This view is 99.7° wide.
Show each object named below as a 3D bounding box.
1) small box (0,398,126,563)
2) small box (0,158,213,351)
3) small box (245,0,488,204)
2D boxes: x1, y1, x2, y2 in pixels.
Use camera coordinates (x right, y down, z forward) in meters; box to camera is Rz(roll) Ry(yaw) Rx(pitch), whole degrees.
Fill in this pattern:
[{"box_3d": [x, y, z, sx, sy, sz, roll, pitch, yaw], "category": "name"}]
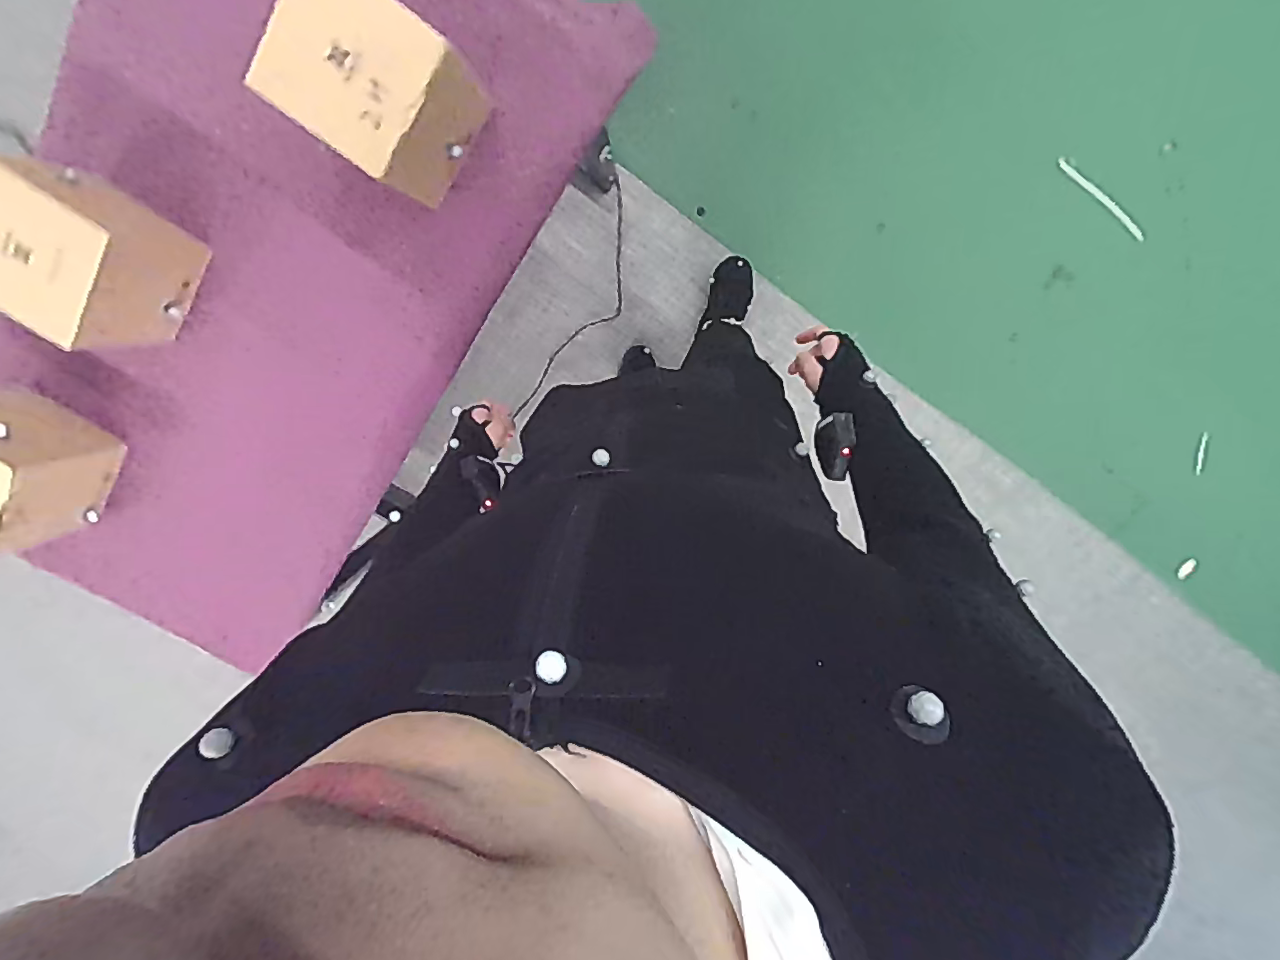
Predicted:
[{"box_3d": [-0.951, -0.009, 0.818, 0.179, 0.176, 0.168, 32, 103, -7], "category": "small box"}, {"box_3d": [-0.750, -0.294, 0.736, 0.179, 0.176, 0.168, 33, 104, -9], "category": "small box"}, {"box_3d": [-0.322, -0.476, 0.671, 0.179, 0.176, 0.168, 35, 105, -7], "category": "small box"}]
